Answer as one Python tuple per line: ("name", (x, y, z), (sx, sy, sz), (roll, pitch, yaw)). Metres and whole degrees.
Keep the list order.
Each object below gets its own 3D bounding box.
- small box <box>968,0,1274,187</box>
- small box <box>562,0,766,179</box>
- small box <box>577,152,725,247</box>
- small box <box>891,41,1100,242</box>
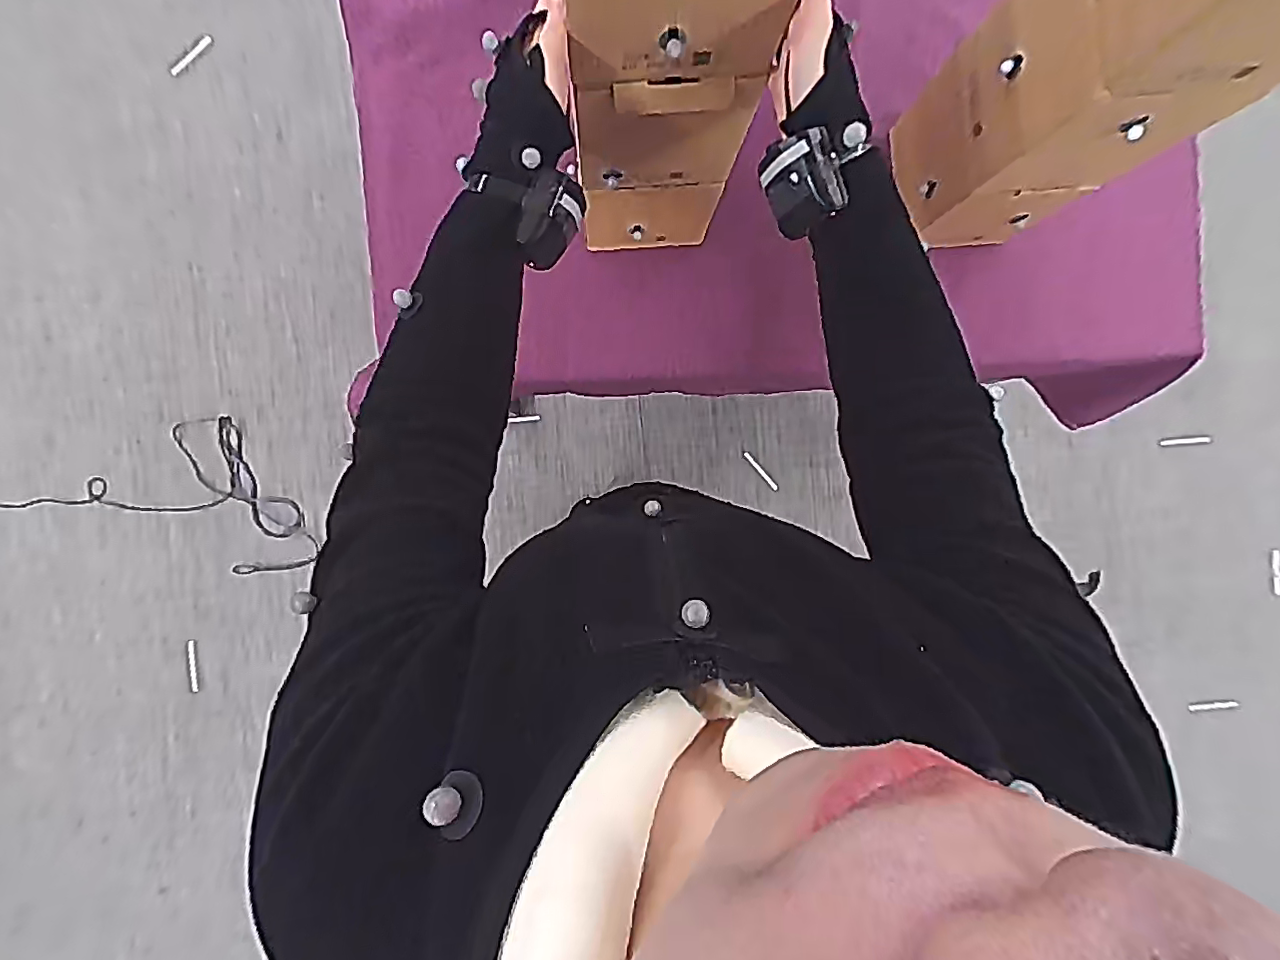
("small box", (0.461, -0.420, 0.547), (0.179, 0.176, 0.168), (-5, 93, -4))
("small box", (0.013, -0.415, 0.522), (0.168, 0.176, 0.179), (-7, 92, -4))
("small box", (0.003, -0.419, 0.685), (0.168, 0.176, 0.179), (-5, 93, -3))
("small box", (0.452, -0.428, 0.711), (0.168, 0.176, 0.179), (-4, 92, -4))
